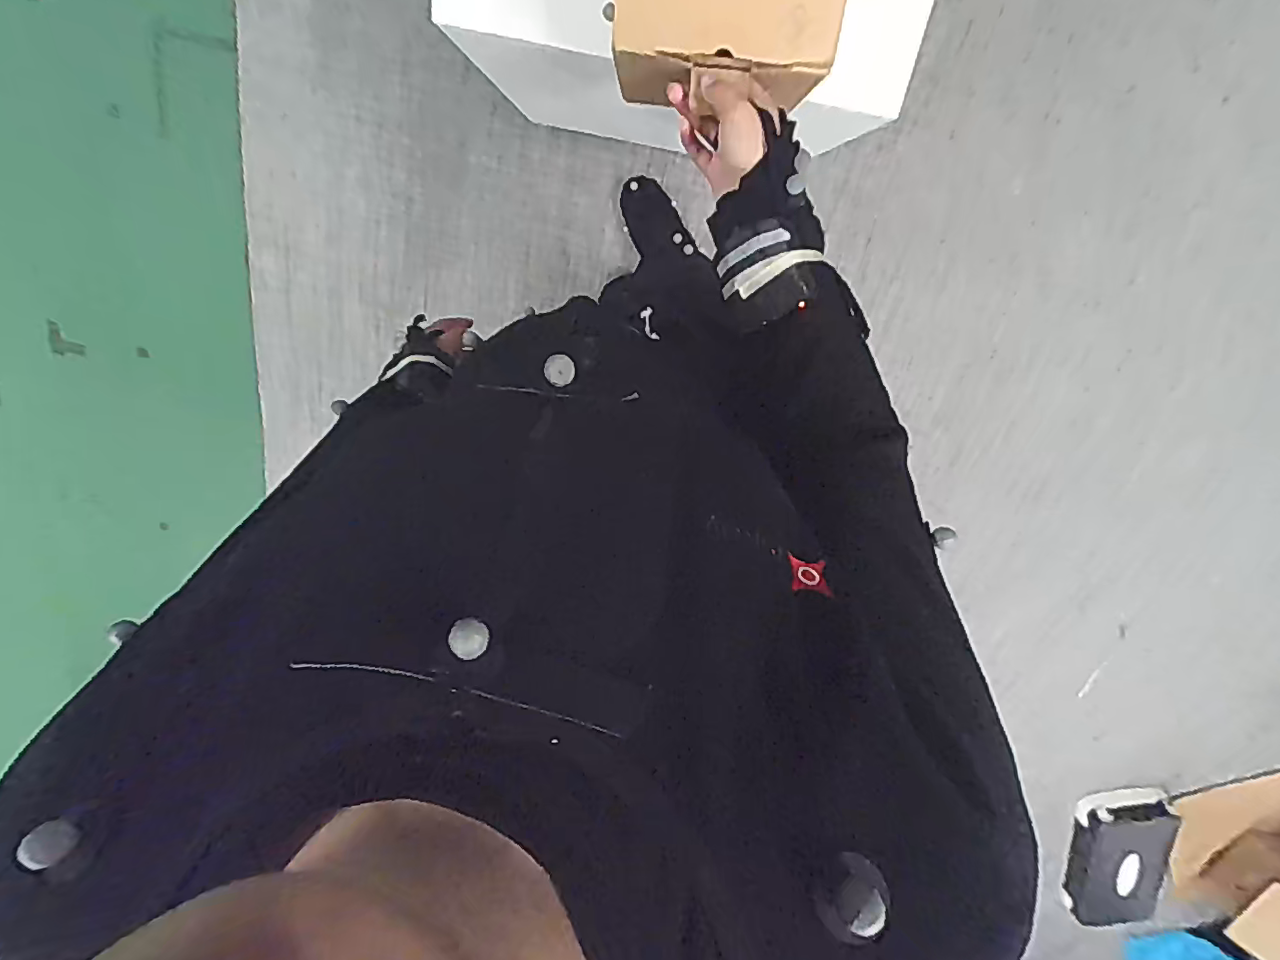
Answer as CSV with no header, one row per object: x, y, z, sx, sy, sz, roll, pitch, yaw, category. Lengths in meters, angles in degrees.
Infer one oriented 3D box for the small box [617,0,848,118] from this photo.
0.074,-0.417,0.440,0.168,0.176,0.179,5,113,-1,small box
